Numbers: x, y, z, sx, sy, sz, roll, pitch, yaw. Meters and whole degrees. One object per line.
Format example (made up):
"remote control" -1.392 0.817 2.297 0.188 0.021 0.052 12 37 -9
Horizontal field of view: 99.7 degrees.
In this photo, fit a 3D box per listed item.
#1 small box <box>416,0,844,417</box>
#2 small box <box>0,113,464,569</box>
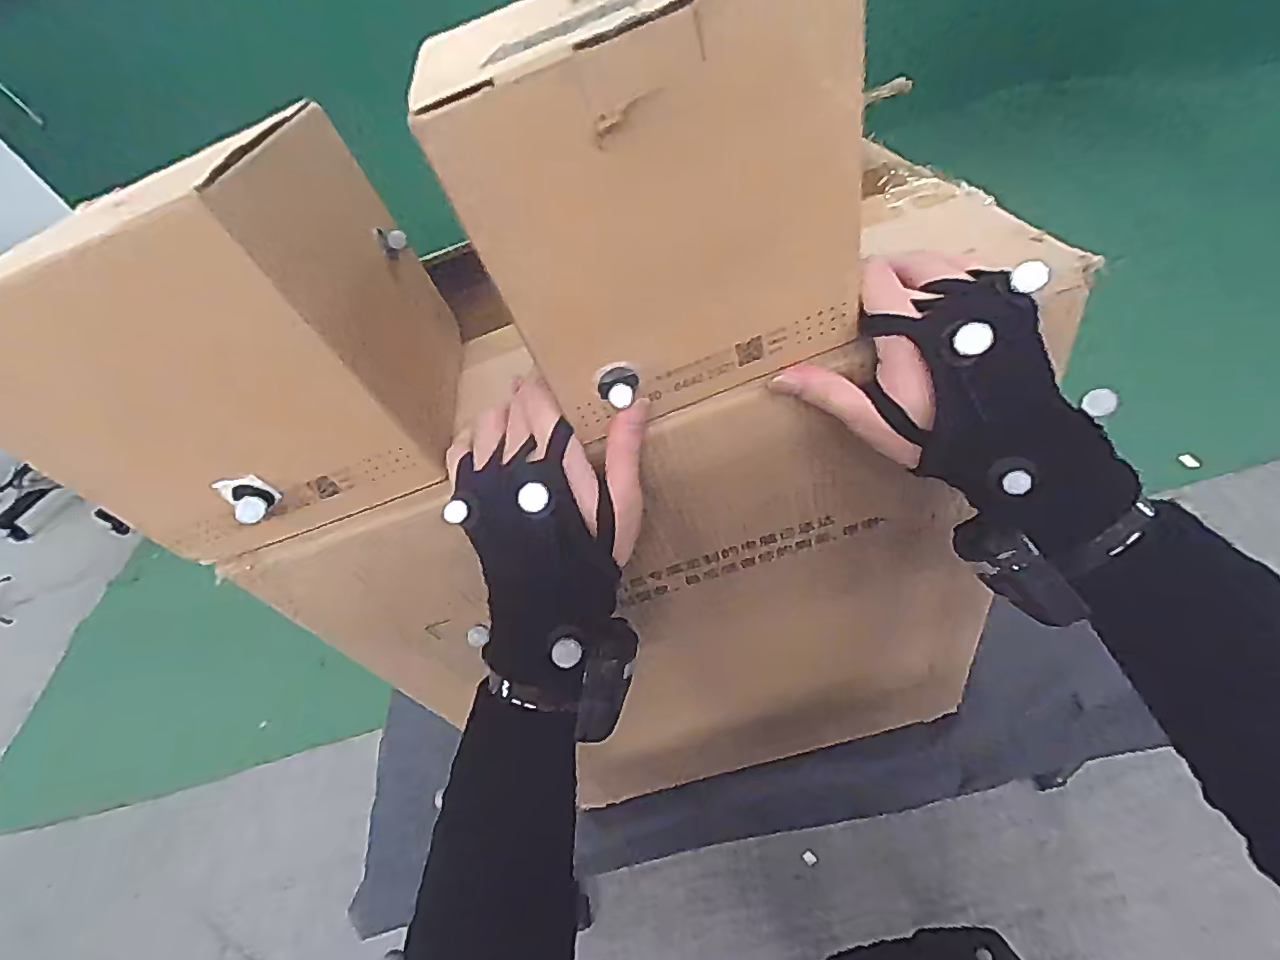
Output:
"small box" 0.000 -0.156 0.301 0.168 0.176 0.179 -22 46 2
"small box" -0.222 -0.079 0.323 0.168 0.176 0.179 -22 45 5
